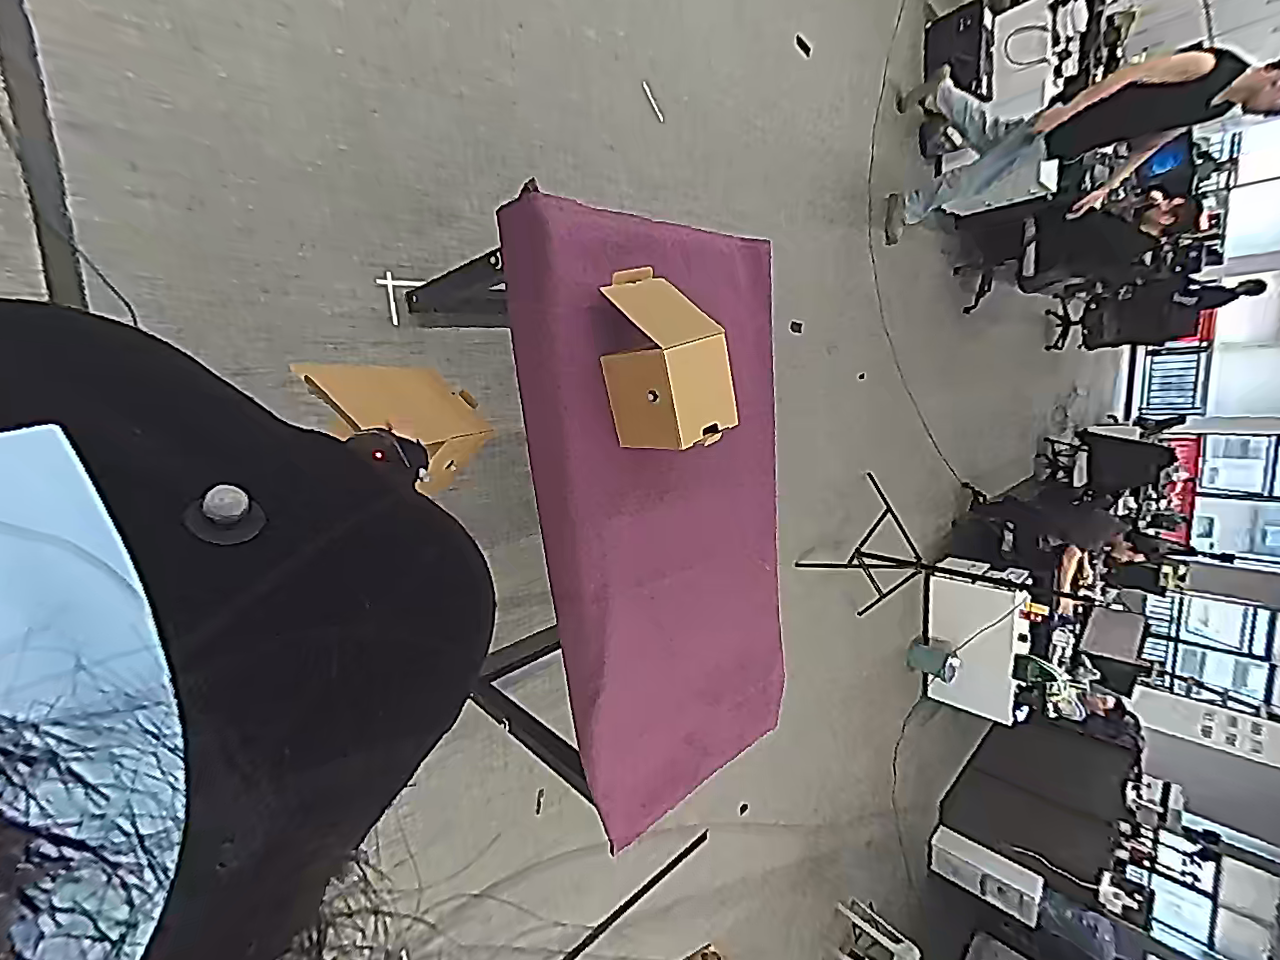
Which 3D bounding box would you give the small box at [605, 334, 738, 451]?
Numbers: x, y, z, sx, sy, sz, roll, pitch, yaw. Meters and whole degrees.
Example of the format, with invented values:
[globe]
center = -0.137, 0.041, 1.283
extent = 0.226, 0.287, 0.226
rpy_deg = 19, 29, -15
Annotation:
[small box]
center = 0.055, -0.161, 0.998
extent = 0.168, 0.176, 0.179
rpy_deg = -25, 112, -37
